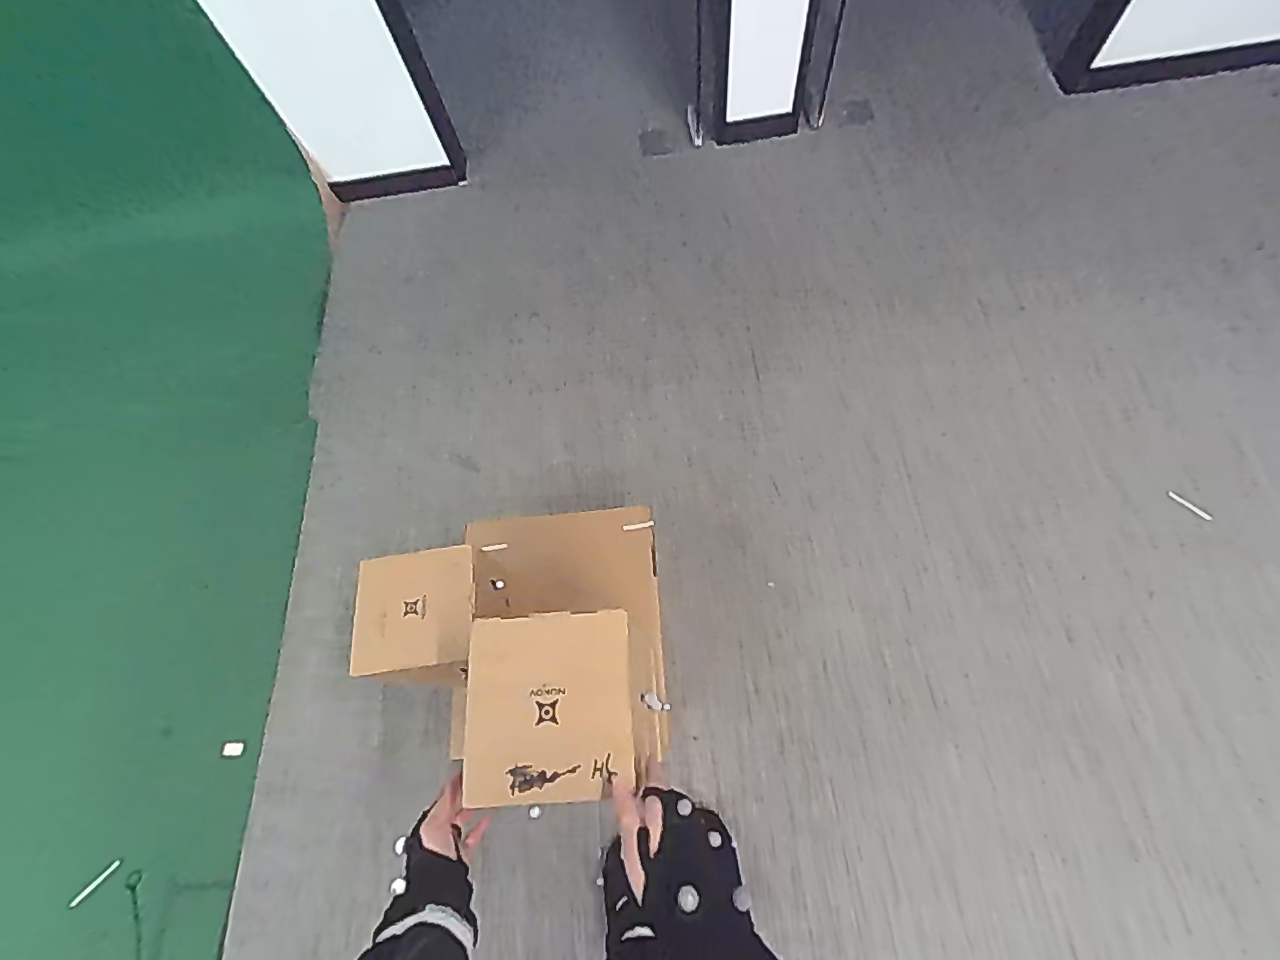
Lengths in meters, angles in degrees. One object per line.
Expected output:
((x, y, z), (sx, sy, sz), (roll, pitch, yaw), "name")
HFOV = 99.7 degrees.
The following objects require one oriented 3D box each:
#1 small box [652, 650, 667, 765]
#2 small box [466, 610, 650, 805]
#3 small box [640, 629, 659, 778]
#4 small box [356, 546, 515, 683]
((-0.046, 0.381, 0.905), (0.179, 0.176, 0.168), (-5, 66, 4), "small box")
((-0.079, 0.251, 0.607), (0.168, 0.176, 0.179), (-4, 67, 4), "small box")
((-0.063, 0.314, 0.758), (0.168, 0.176, 0.179), (-5, 67, 4), "small box")
((-0.298, 0.212, 0.831), (0.179, 0.176, 0.168), (-9, 64, 4), "small box")
